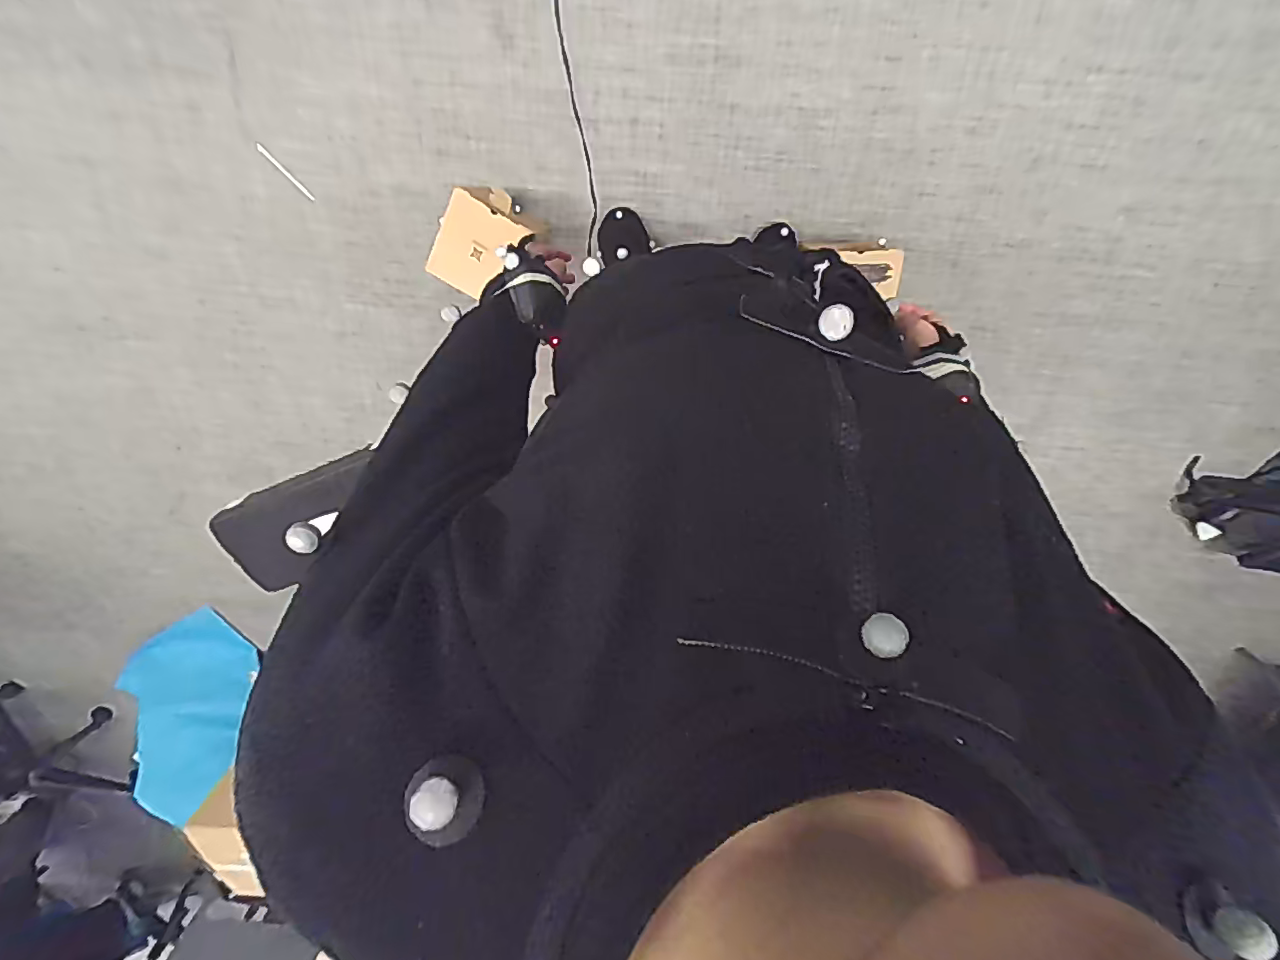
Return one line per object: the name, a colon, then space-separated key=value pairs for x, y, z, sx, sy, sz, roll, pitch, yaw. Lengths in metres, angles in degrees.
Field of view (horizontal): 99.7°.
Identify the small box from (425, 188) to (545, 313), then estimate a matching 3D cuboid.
small box: x=-0.317 y=-0.482 z=1.136 sx=0.168 sy=0.176 sz=0.179 roll=28 pitch=115 yaw=-11
